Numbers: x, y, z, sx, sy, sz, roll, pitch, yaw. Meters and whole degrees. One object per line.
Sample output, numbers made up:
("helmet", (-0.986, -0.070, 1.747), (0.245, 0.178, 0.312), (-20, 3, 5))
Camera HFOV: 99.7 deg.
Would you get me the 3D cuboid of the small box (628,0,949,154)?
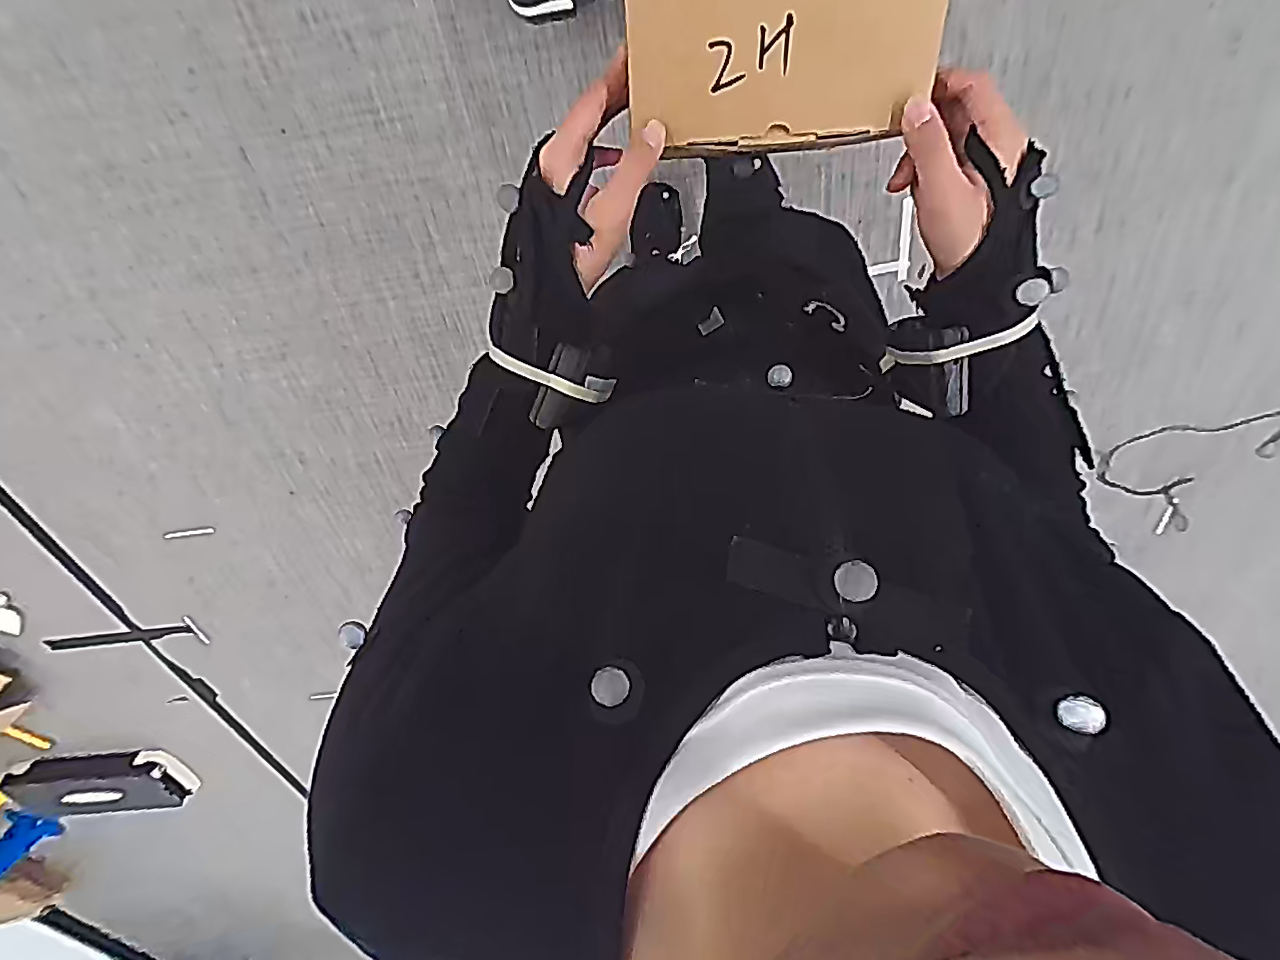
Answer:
("small box", (0.075, -0.312, 0.333), (0.168, 0.176, 0.179), (-2, 118, 2))
